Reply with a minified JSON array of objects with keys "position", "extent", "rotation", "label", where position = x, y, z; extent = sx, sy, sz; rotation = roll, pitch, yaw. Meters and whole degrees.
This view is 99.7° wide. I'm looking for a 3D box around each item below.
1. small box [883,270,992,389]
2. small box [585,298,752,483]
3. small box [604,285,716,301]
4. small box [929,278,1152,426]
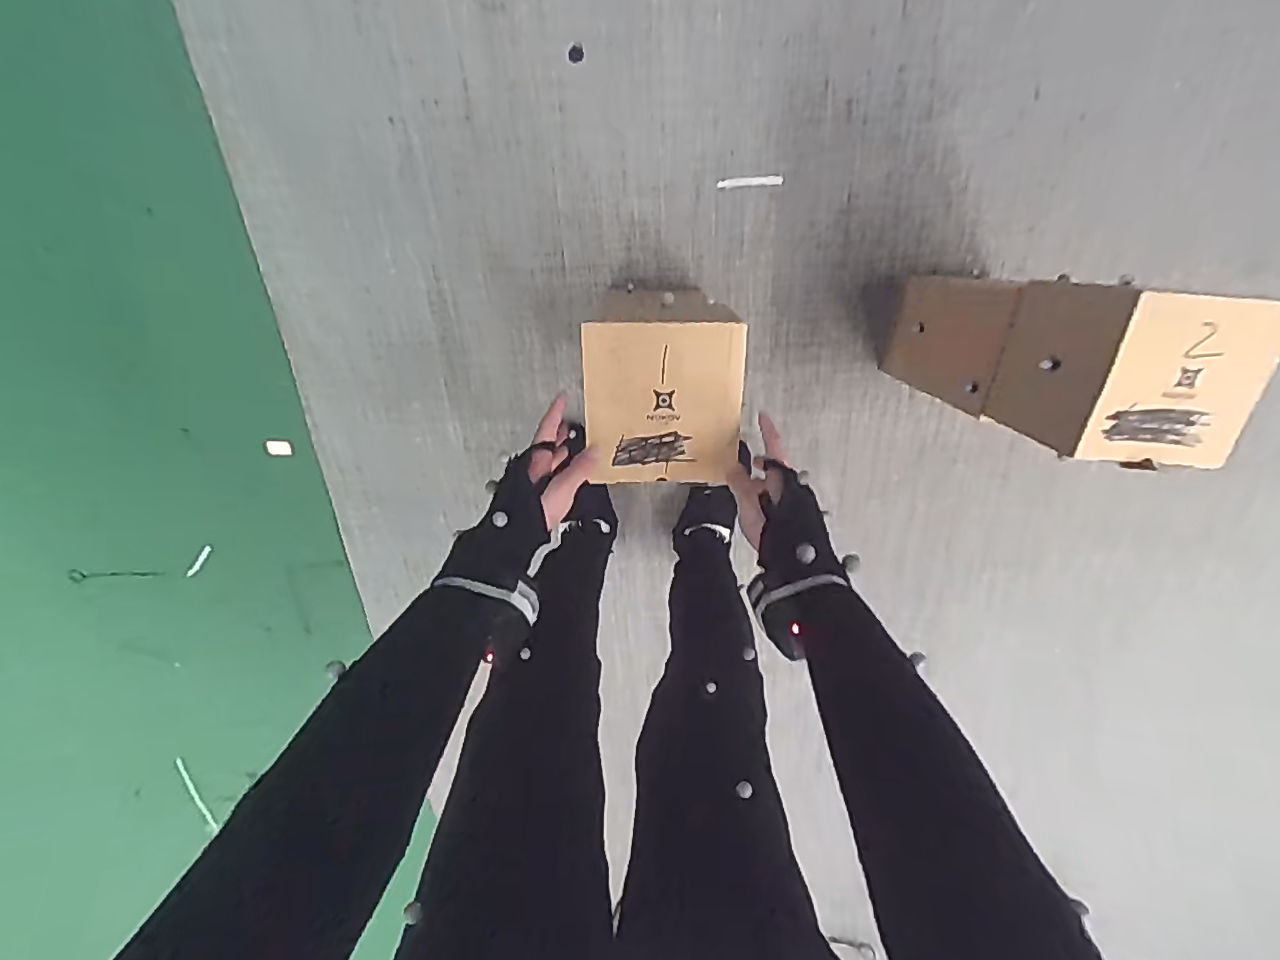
[{"position":[0.540,-0.251,0.916],"extent":[0.168,0.176,0.179],"rotation":[9,115,-1],"label":"small box"},{"position":[0.028,-0.111,0.631],"extent":[0.168,0.176,0.179],"rotation":[1,114,1],"label":"small box"},{"position":[0.029,-0.241,0.932],"extent":[0.179,0.176,0.168],"rotation":[2,115,0],"label":"small box"},{"position":[0.545,-0.188,0.768],"extent":[0.168,0.176,0.179],"rotation":[3,115,-1],"label":"small box"}]
